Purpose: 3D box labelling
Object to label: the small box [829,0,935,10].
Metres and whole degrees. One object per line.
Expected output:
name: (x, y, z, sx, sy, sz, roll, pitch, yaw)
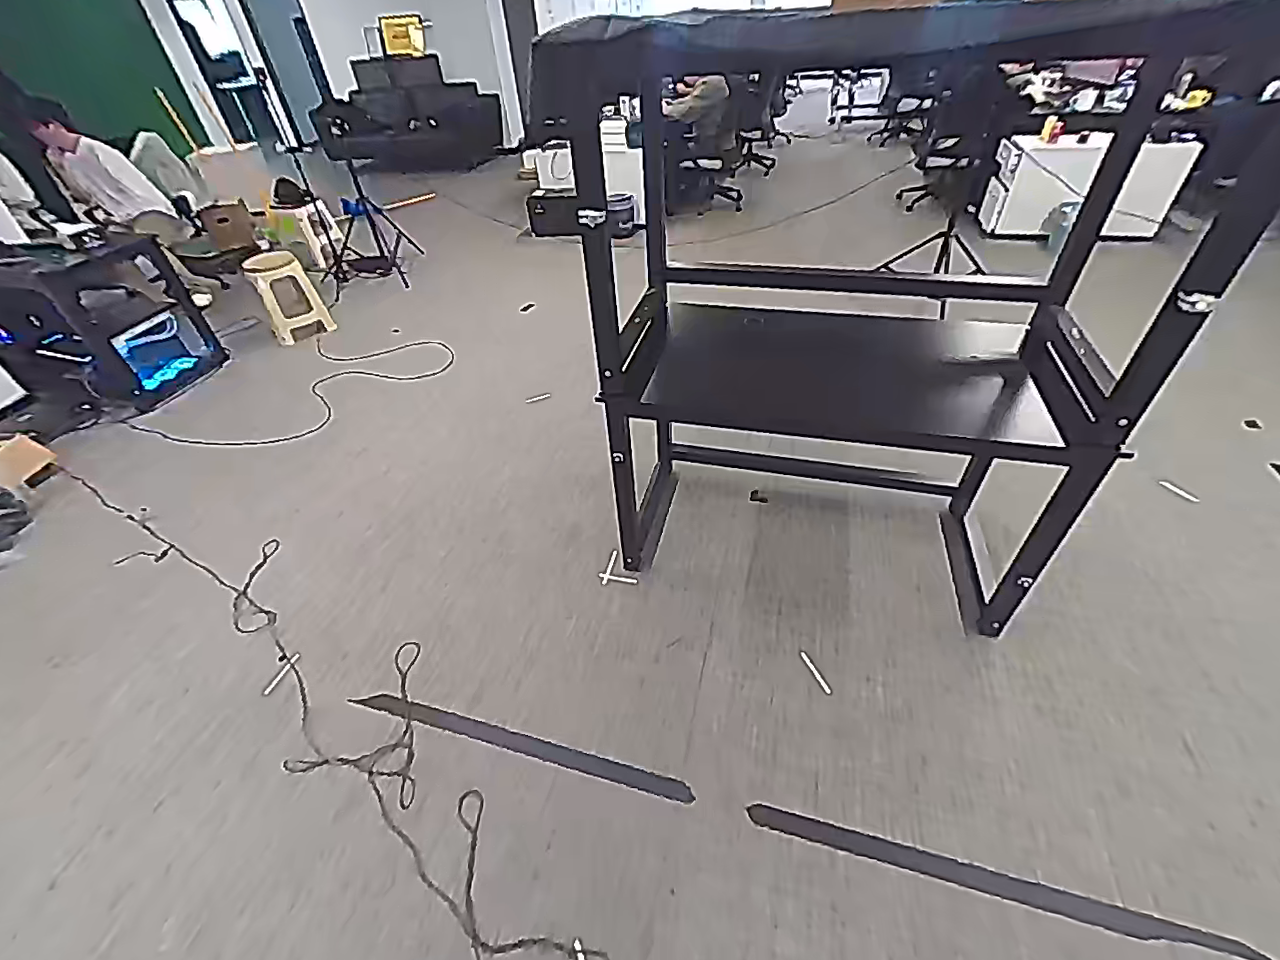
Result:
small box: (0.396, -0.849, 0.843, 0.168, 0.176, 0.179, 9, 41, 15)
